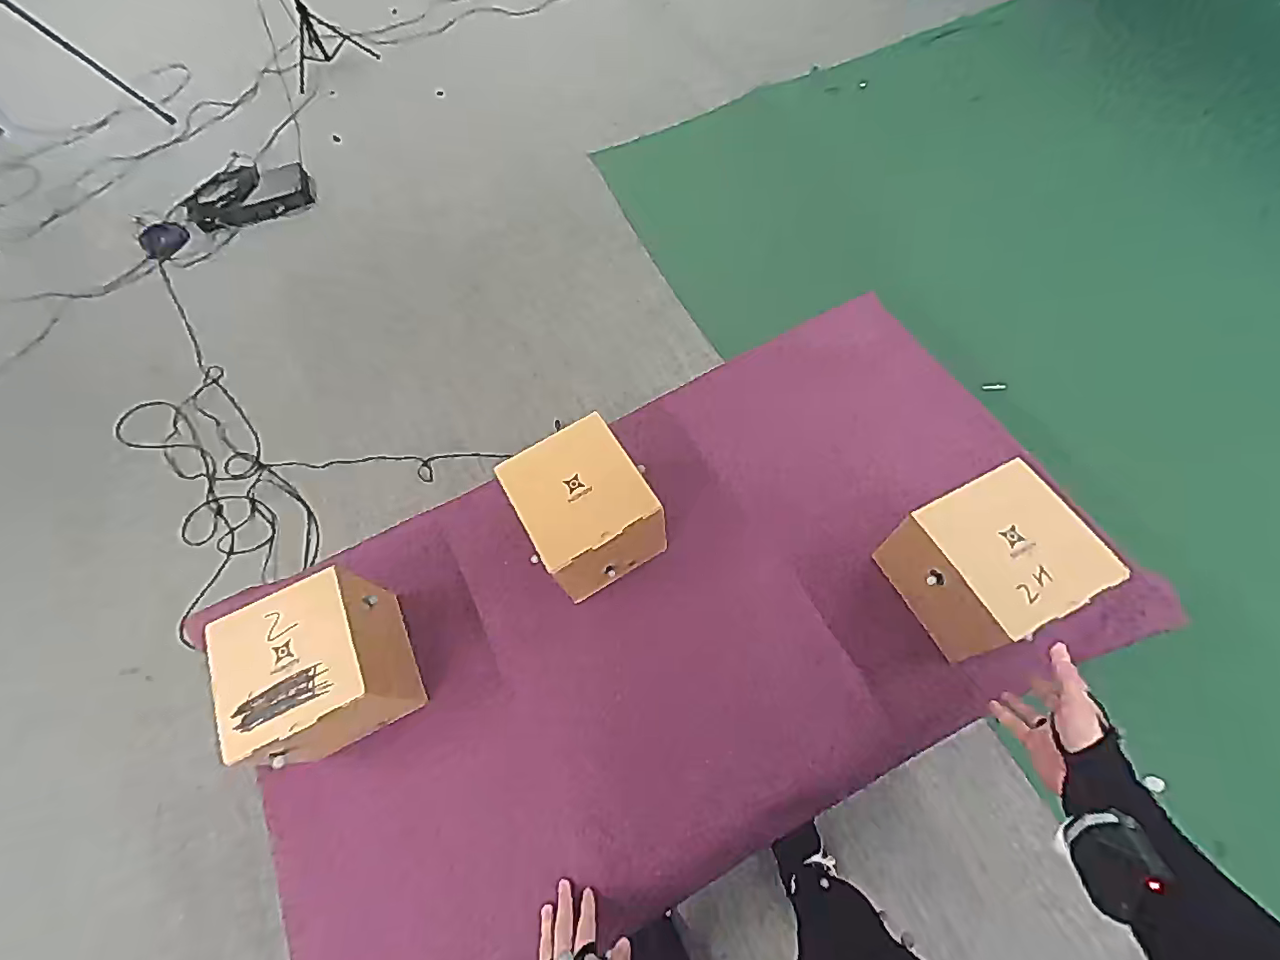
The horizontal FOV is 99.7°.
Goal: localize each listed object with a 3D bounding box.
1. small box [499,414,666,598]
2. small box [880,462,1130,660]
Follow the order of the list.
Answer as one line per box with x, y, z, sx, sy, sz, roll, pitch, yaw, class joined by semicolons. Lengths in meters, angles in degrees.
-0.076;0.044;0.779;0.168;0.176;0.179;-30;68;-10;small box
0.448;0.112;0.702;0.168;0.176;0.179;-26;65;-6;small box
